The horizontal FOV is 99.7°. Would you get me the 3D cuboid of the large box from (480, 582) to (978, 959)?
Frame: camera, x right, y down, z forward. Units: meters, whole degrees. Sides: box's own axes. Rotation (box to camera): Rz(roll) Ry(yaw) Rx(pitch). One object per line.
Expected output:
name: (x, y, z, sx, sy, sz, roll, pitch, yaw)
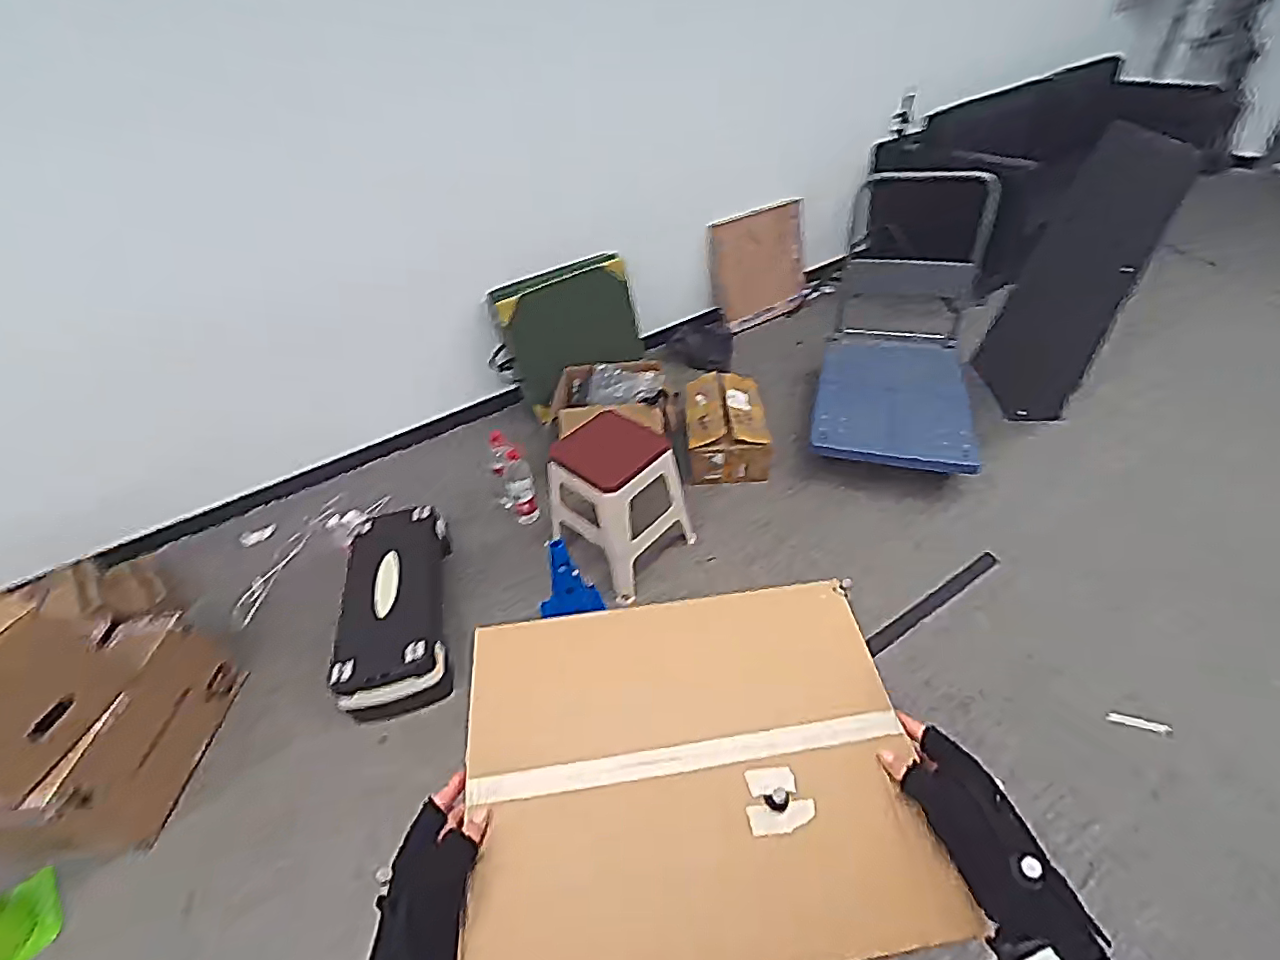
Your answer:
large box: (0.054, 0.350, 0.620, 0.408, 0.320, 0.320, -6, 50, -5)
